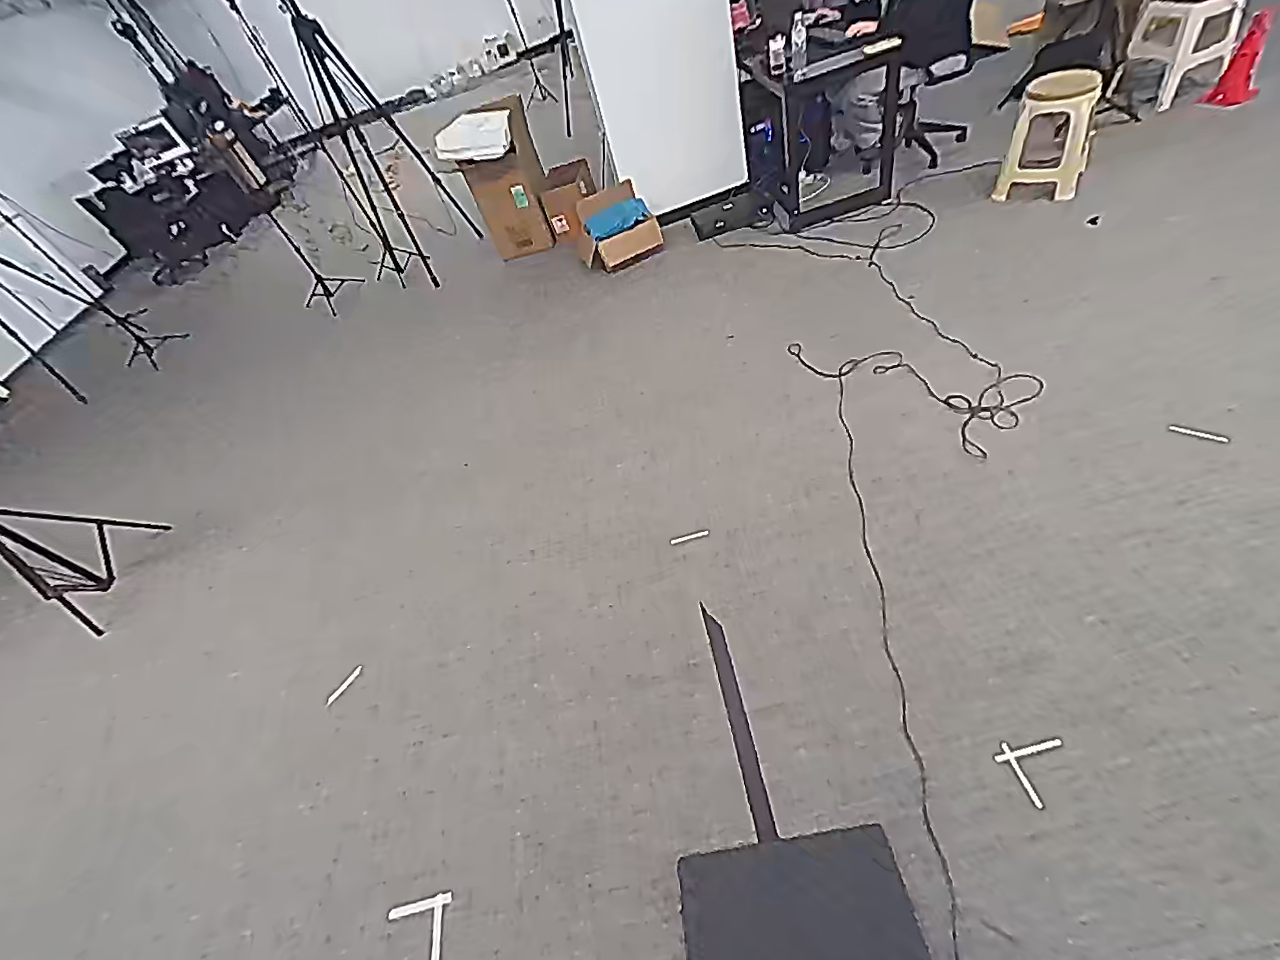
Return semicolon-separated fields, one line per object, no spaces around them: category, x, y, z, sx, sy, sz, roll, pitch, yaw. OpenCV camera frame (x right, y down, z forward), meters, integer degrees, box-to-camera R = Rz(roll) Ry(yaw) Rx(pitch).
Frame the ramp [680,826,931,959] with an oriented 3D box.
ramp;0.355;1.160;0.884;0.509;0.206;0.991;-17;46;6
